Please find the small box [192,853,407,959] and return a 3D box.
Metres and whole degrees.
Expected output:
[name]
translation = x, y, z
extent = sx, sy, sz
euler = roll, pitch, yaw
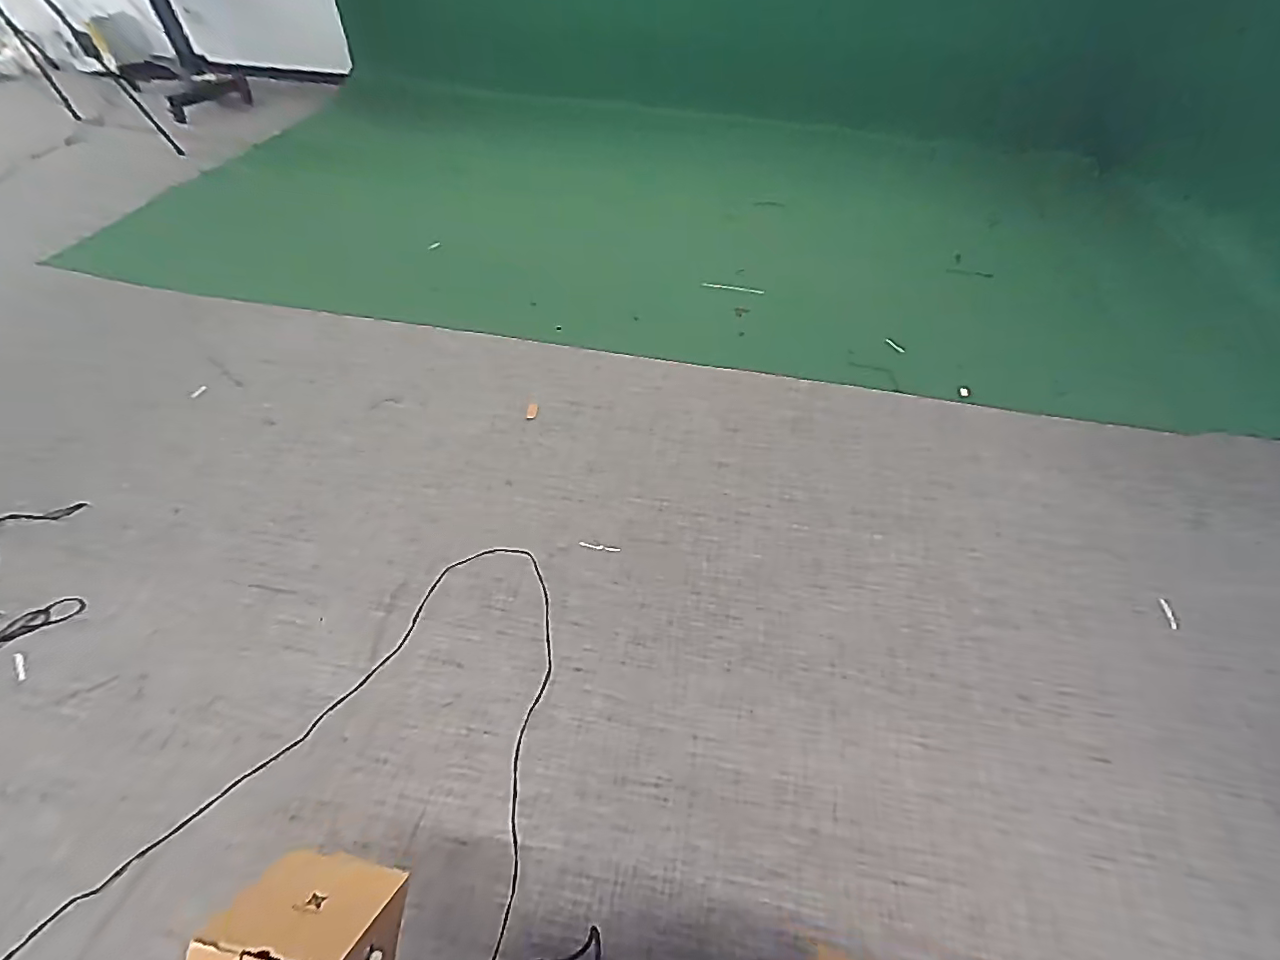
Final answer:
[small box]
translation = -0.414, 0.599, 0.650
extent = 0.168, 0.179, 0.176
euler = 8, 84, 4
